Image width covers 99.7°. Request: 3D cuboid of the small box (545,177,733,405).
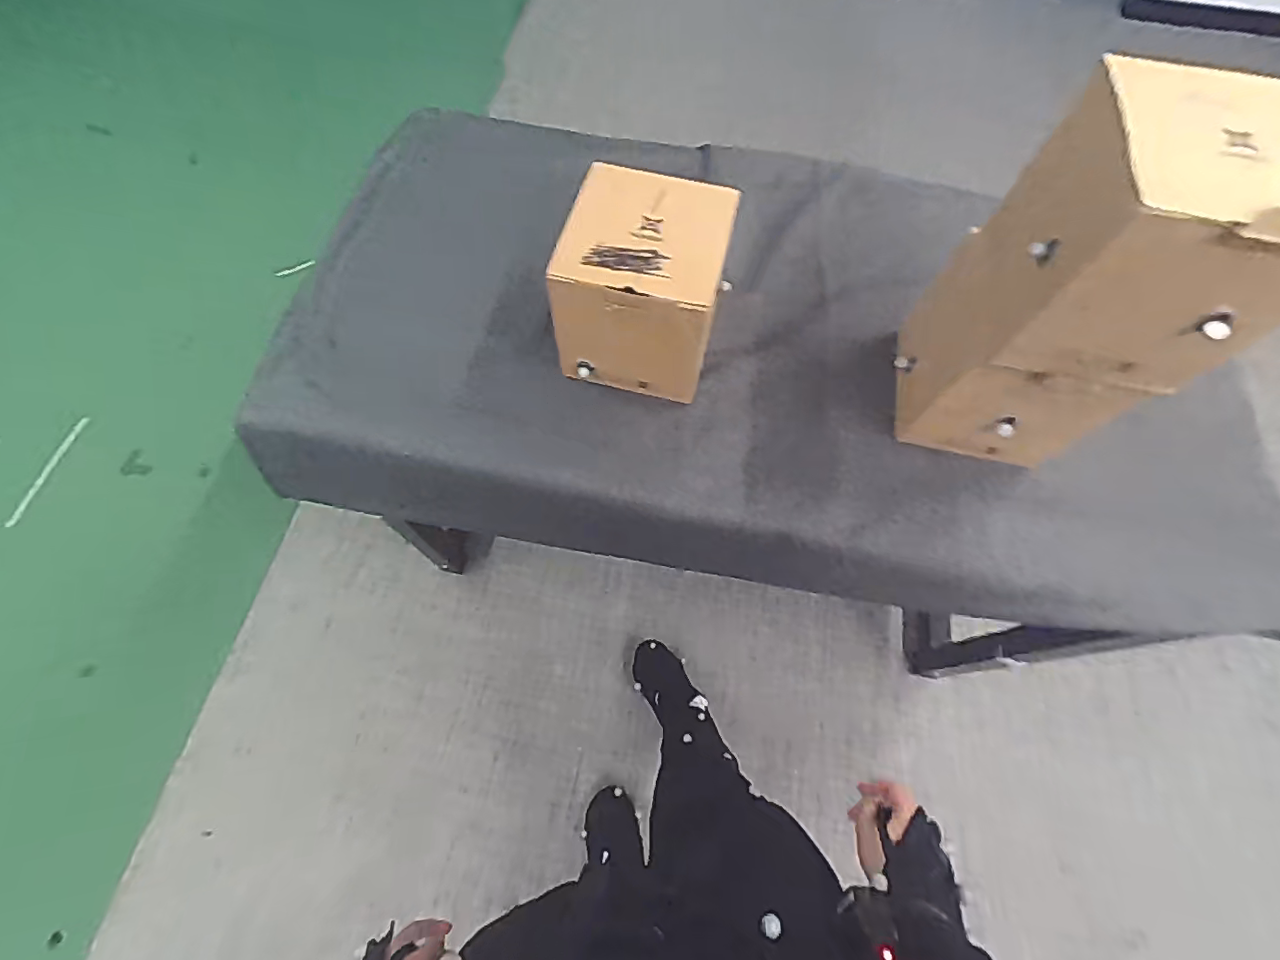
[{"bbox_3d":[0.002,-0.213,0.637,0.168,0.176,0.179,13,64,4],"label":"small box"}]
